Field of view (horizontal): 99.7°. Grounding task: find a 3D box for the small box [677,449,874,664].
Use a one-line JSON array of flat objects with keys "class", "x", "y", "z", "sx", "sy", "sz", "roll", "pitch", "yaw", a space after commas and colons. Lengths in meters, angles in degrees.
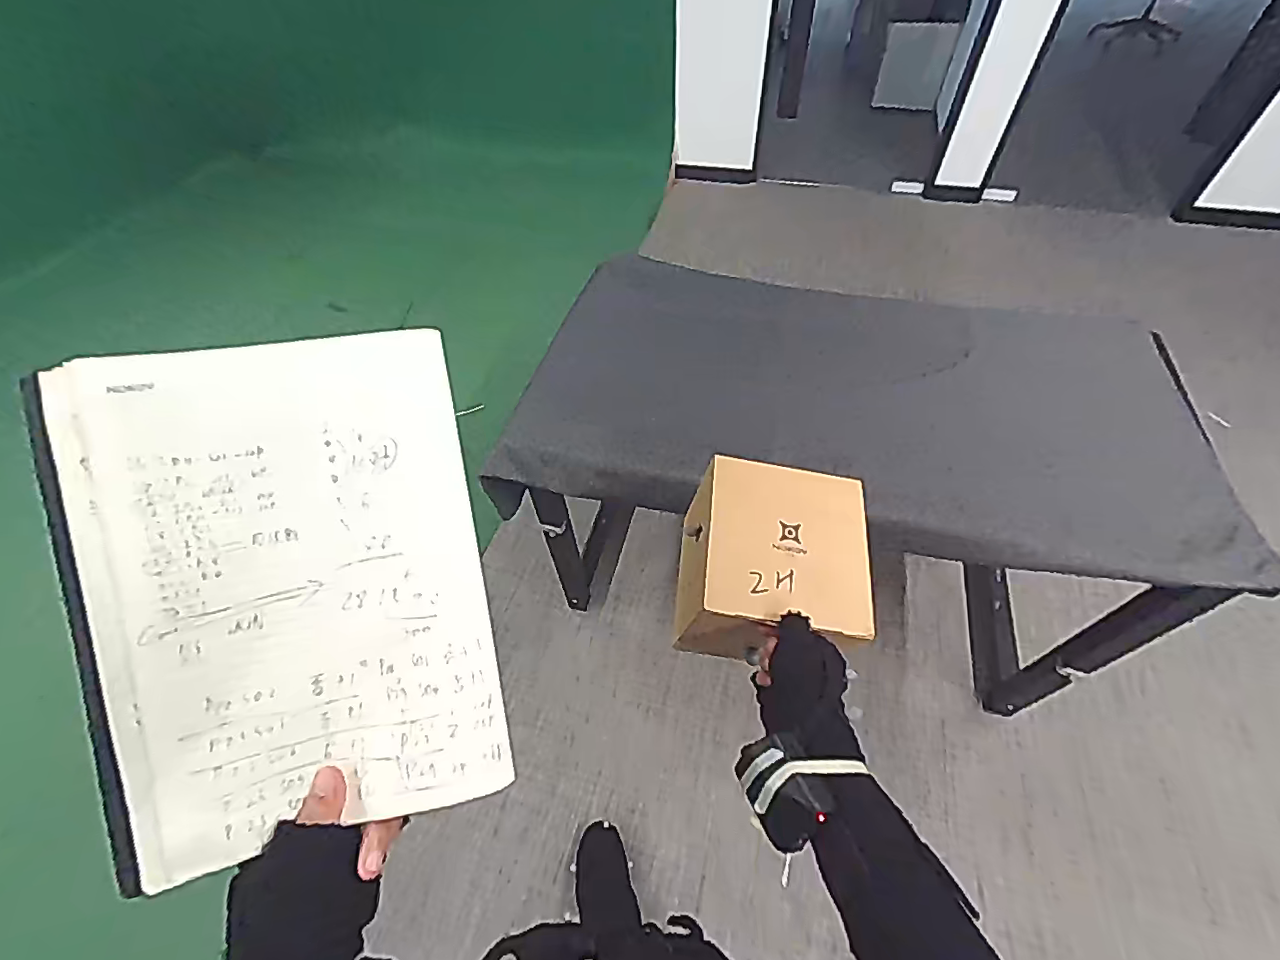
[{"class": "small box", "x": 0.142, "y": 0.094, "z": 0.616, "sx": 0.168, "sy": 0.176, "sz": 0.179, "roll": 10, "pitch": 60, "yaw": -2}]
